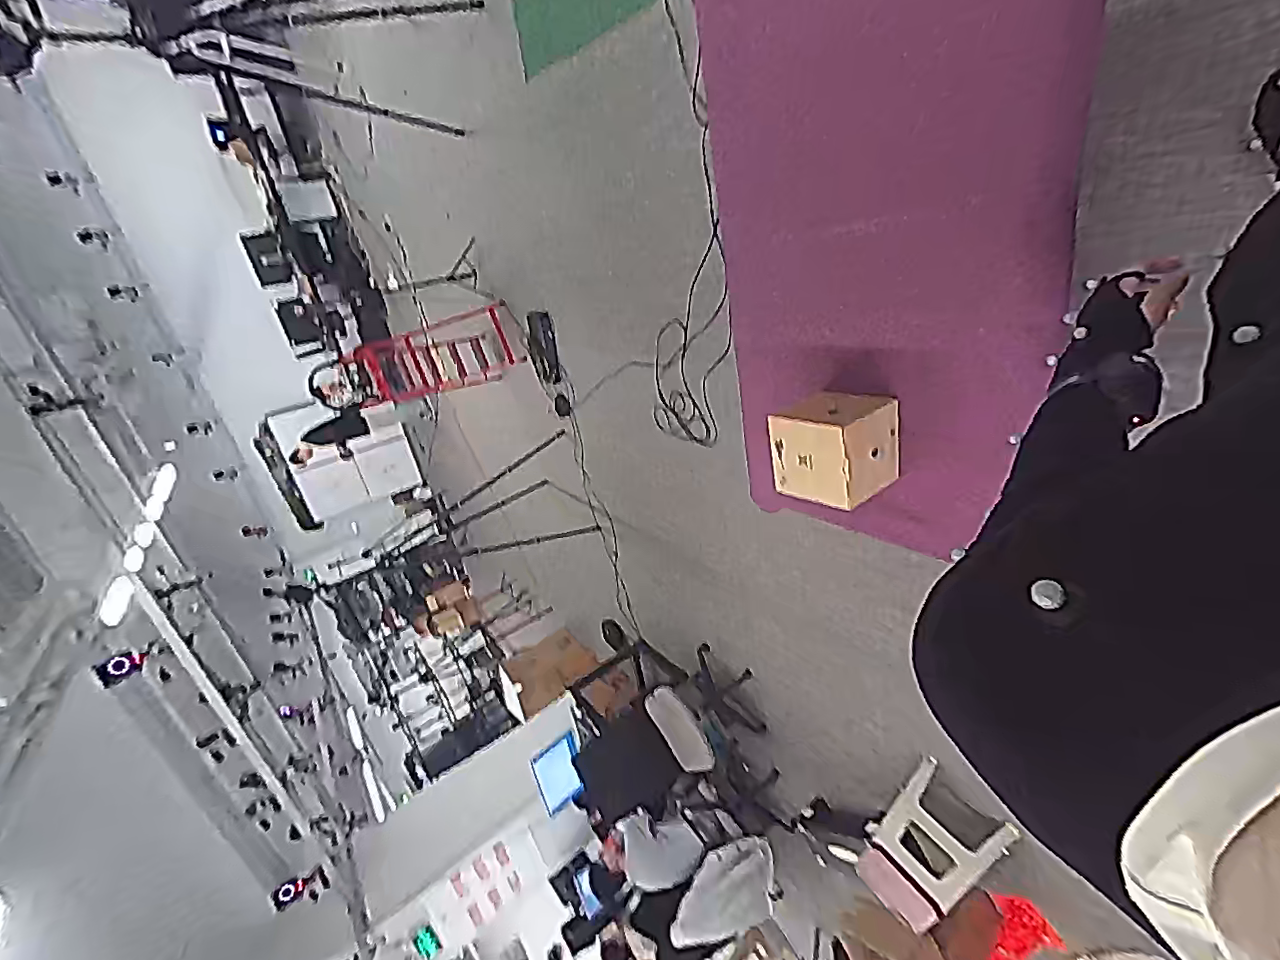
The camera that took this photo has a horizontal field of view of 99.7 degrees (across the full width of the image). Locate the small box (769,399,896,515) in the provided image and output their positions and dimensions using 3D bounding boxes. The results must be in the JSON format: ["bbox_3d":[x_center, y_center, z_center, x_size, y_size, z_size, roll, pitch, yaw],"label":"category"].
[{"bbox_3d":[0.384,-0.054,1.065,0.179,0.176,0.168,18,126,52],"label":"small box"}]
